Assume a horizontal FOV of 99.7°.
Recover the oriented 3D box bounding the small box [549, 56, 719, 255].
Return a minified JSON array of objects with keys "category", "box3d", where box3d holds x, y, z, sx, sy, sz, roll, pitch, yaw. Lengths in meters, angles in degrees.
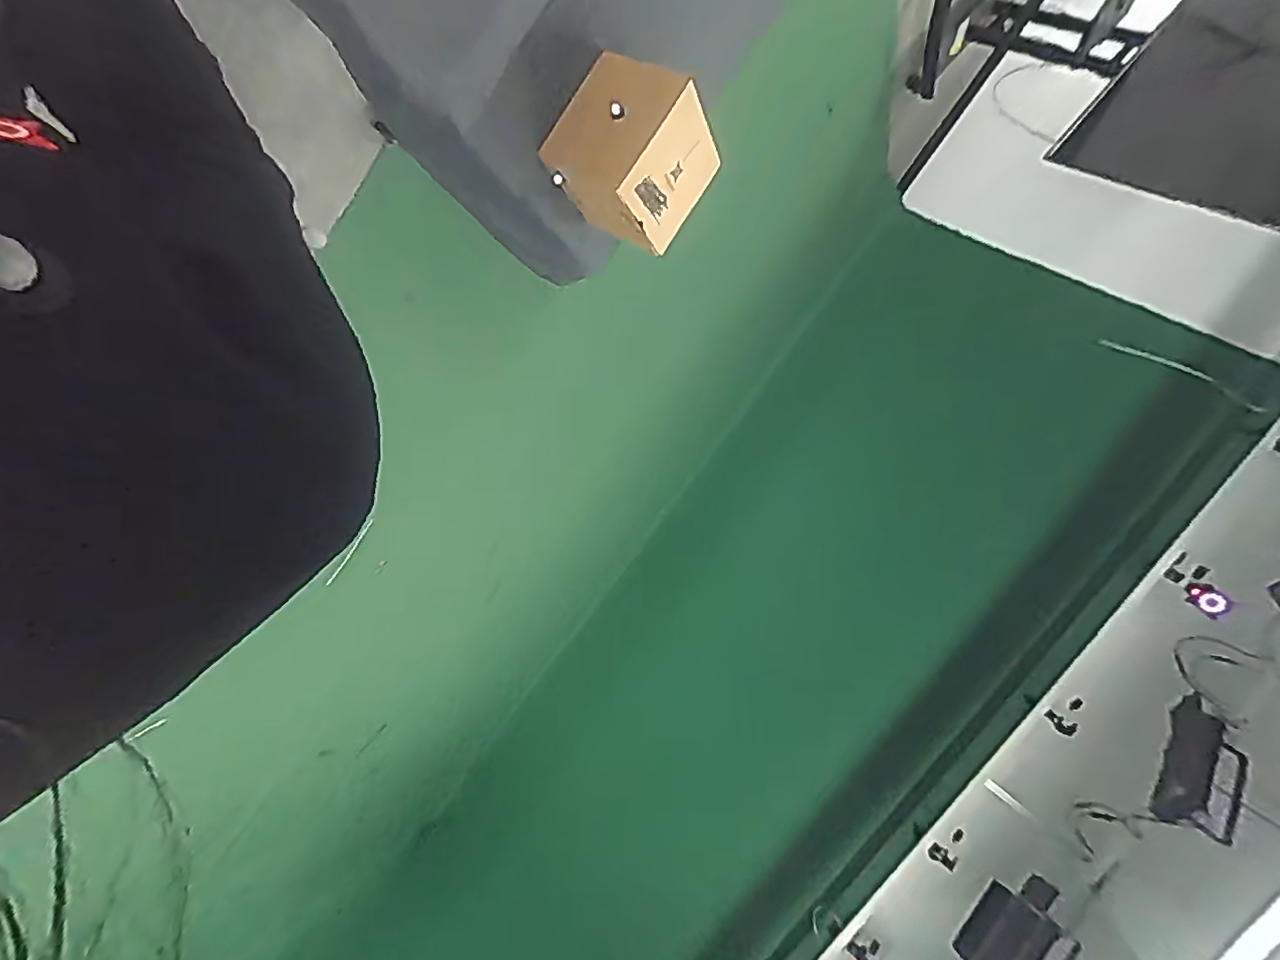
[{"category":"small box","box3d":[-0.013,-0.487,0.821,0.179,0.176,0.168,-56,156,5]}]
